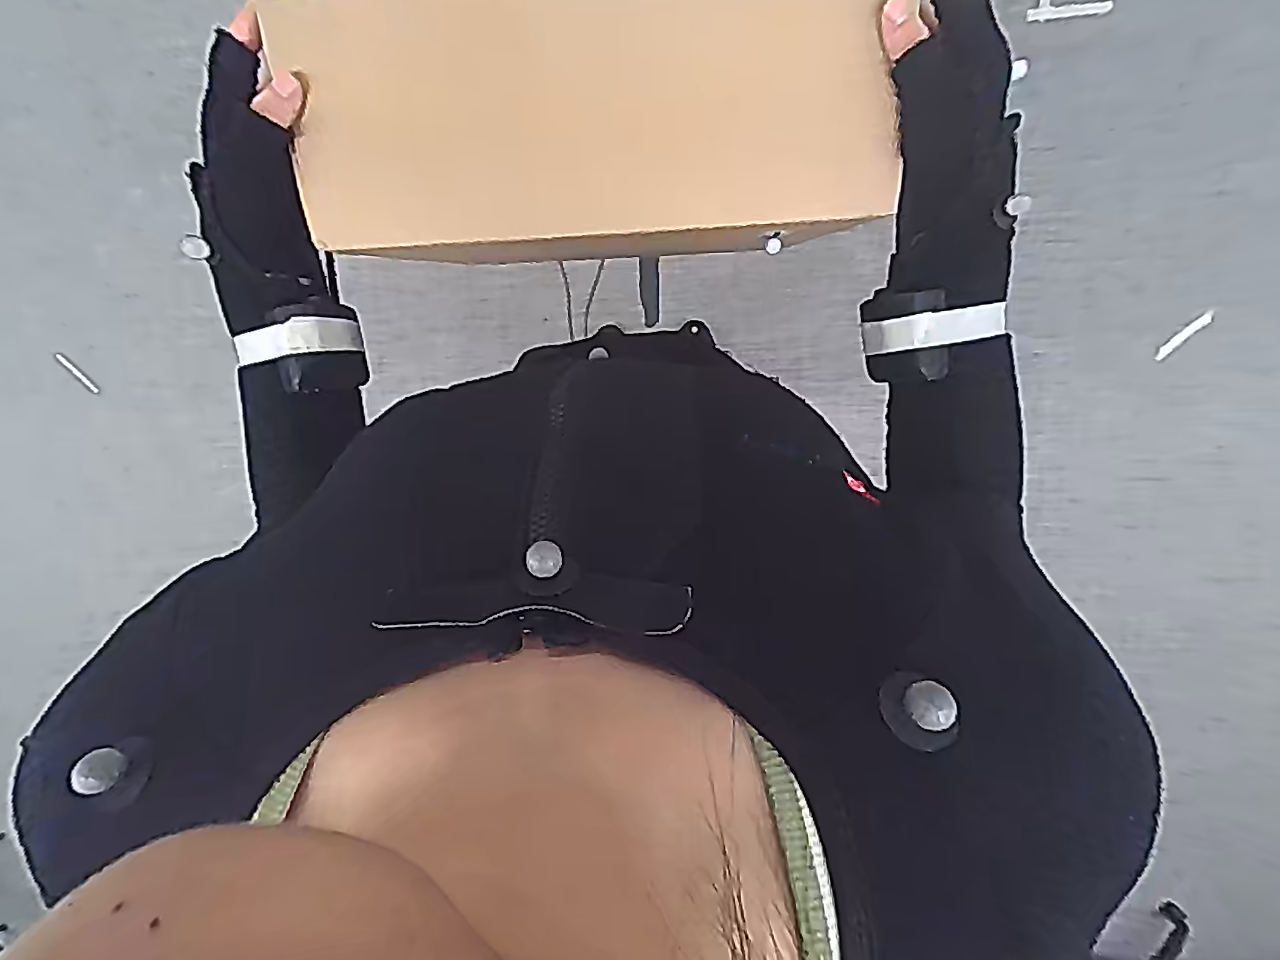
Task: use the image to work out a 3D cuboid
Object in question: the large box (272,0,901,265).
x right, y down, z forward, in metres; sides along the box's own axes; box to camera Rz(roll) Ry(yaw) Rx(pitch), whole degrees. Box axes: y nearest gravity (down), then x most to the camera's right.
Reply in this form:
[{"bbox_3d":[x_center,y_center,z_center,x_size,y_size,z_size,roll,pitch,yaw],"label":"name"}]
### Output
[{"bbox_3d":[-0.032,-0.369,0.474,0.408,0.320,0.320,-3,109,2],"label":"large box"}]
